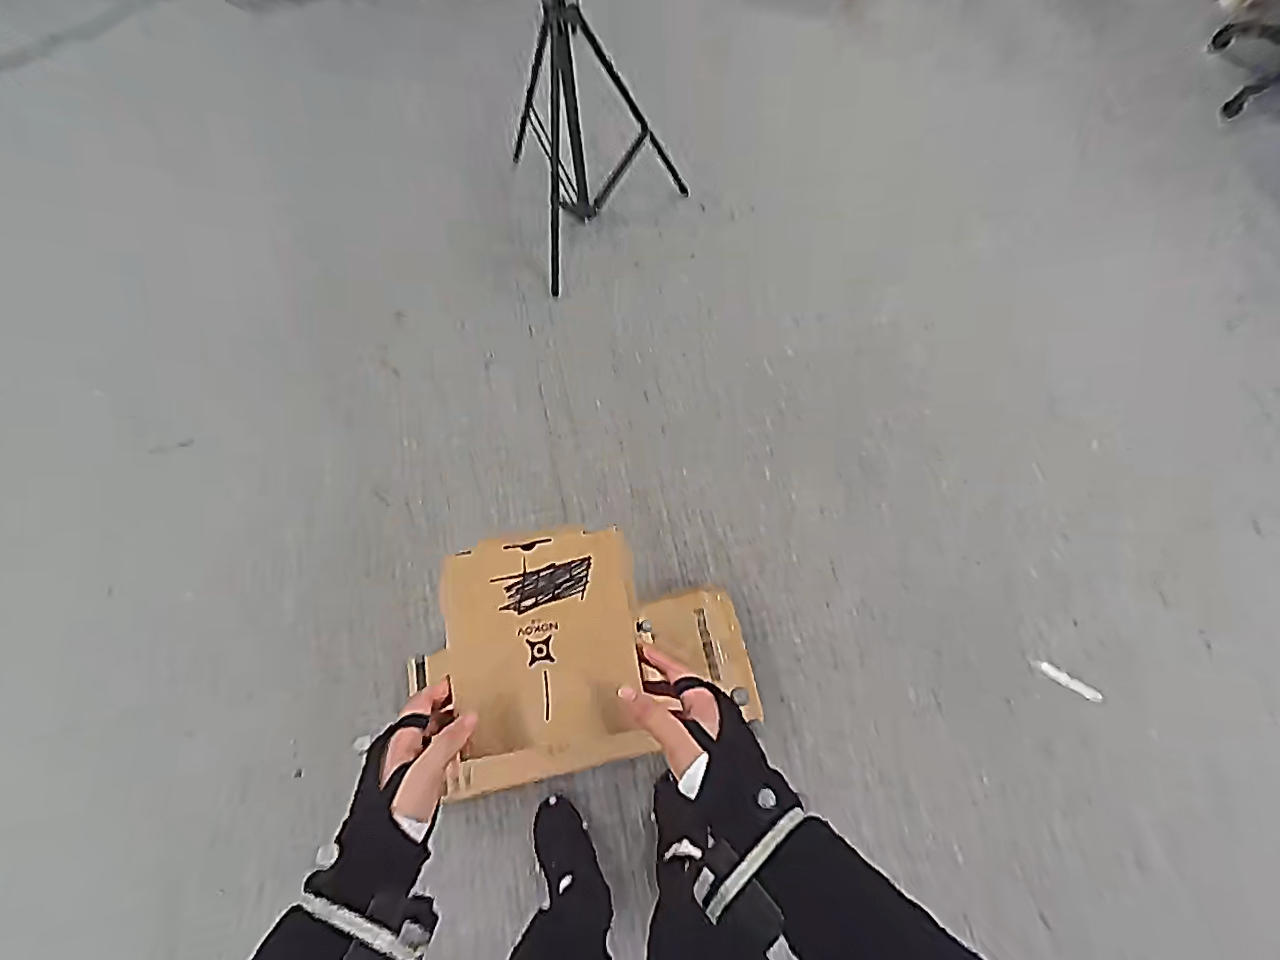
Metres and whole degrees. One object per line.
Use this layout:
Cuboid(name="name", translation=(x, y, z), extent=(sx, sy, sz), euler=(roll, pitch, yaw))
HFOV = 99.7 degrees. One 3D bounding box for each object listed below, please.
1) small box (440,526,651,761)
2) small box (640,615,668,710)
Cuboid(name="small box", translation=(-0.084, 0.153, 0.543), extent=(0.168, 0.176, 0.179), euler=(-10, 79, 0))
Cuboid(name="small box", translation=(-0.045, 0.393, 1.113), extent=(0.168, 0.176, 0.179), euler=(-13, 69, -4))
